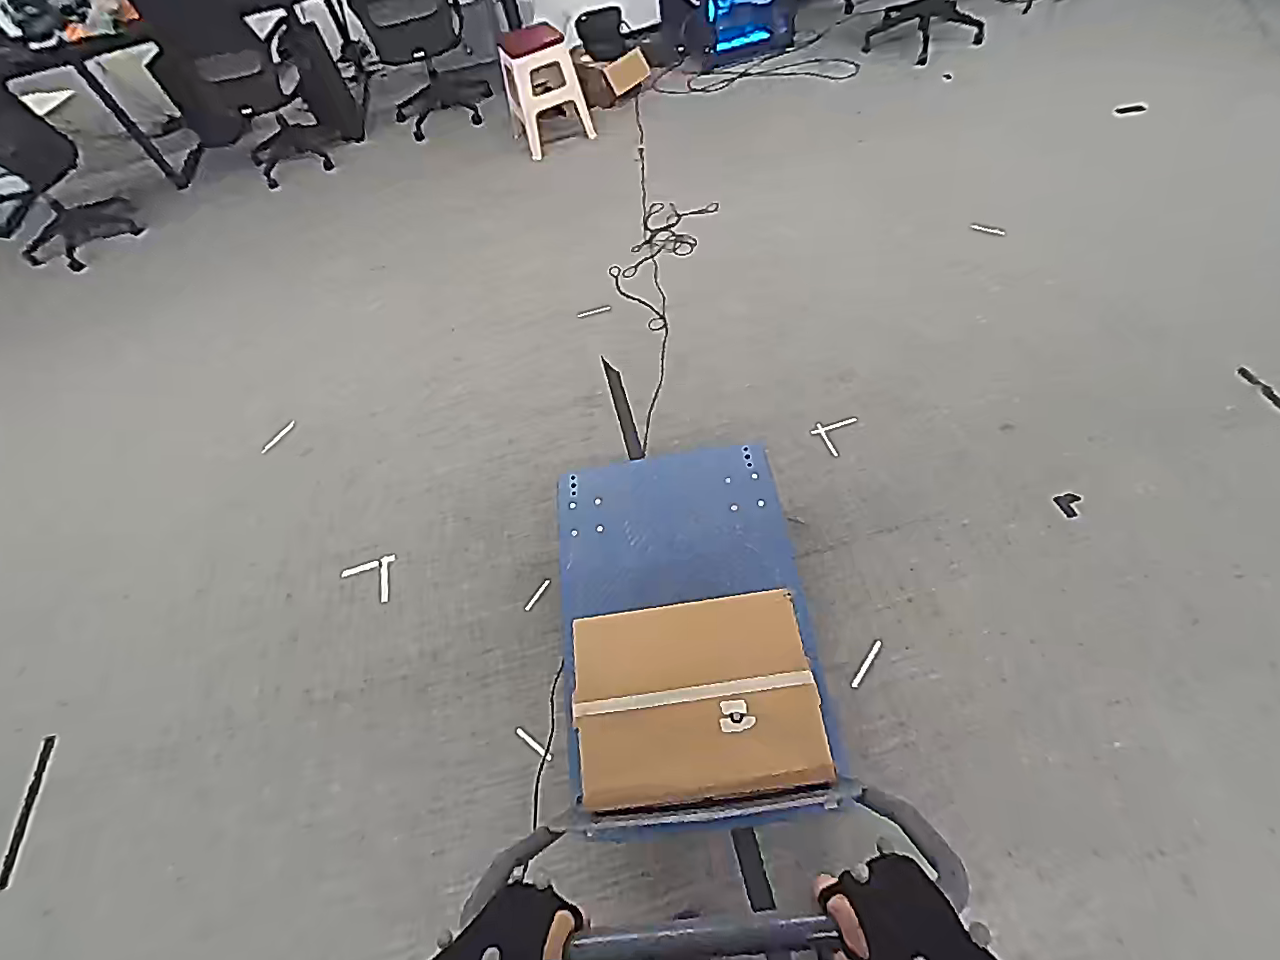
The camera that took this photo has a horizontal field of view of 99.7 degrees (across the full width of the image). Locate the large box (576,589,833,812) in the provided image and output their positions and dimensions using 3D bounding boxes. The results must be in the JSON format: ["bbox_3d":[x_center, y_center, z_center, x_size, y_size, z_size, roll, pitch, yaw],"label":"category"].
[{"bbox_3d":[0.111,0.440,1.069,0.408,0.320,0.320,-10,62,3],"label":"large box"}]
